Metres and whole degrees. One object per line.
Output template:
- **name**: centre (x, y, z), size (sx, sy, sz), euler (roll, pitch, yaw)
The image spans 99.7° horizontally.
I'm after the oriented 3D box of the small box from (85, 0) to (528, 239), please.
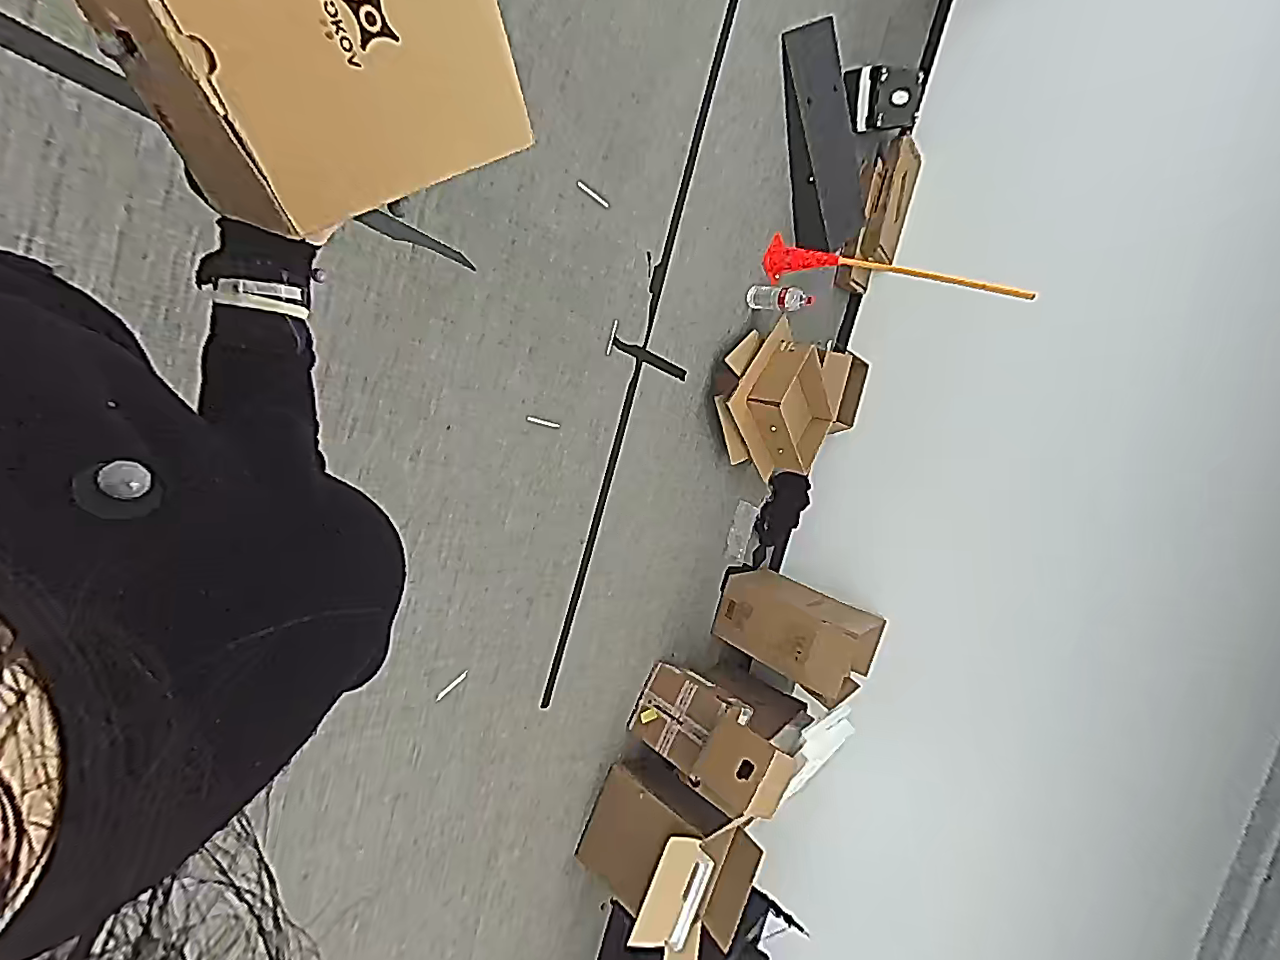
- **small box**: centre (-0.207, -0.276, 0.339), size (0.179, 0.176, 0.168), euler (-41, 140, -26)
